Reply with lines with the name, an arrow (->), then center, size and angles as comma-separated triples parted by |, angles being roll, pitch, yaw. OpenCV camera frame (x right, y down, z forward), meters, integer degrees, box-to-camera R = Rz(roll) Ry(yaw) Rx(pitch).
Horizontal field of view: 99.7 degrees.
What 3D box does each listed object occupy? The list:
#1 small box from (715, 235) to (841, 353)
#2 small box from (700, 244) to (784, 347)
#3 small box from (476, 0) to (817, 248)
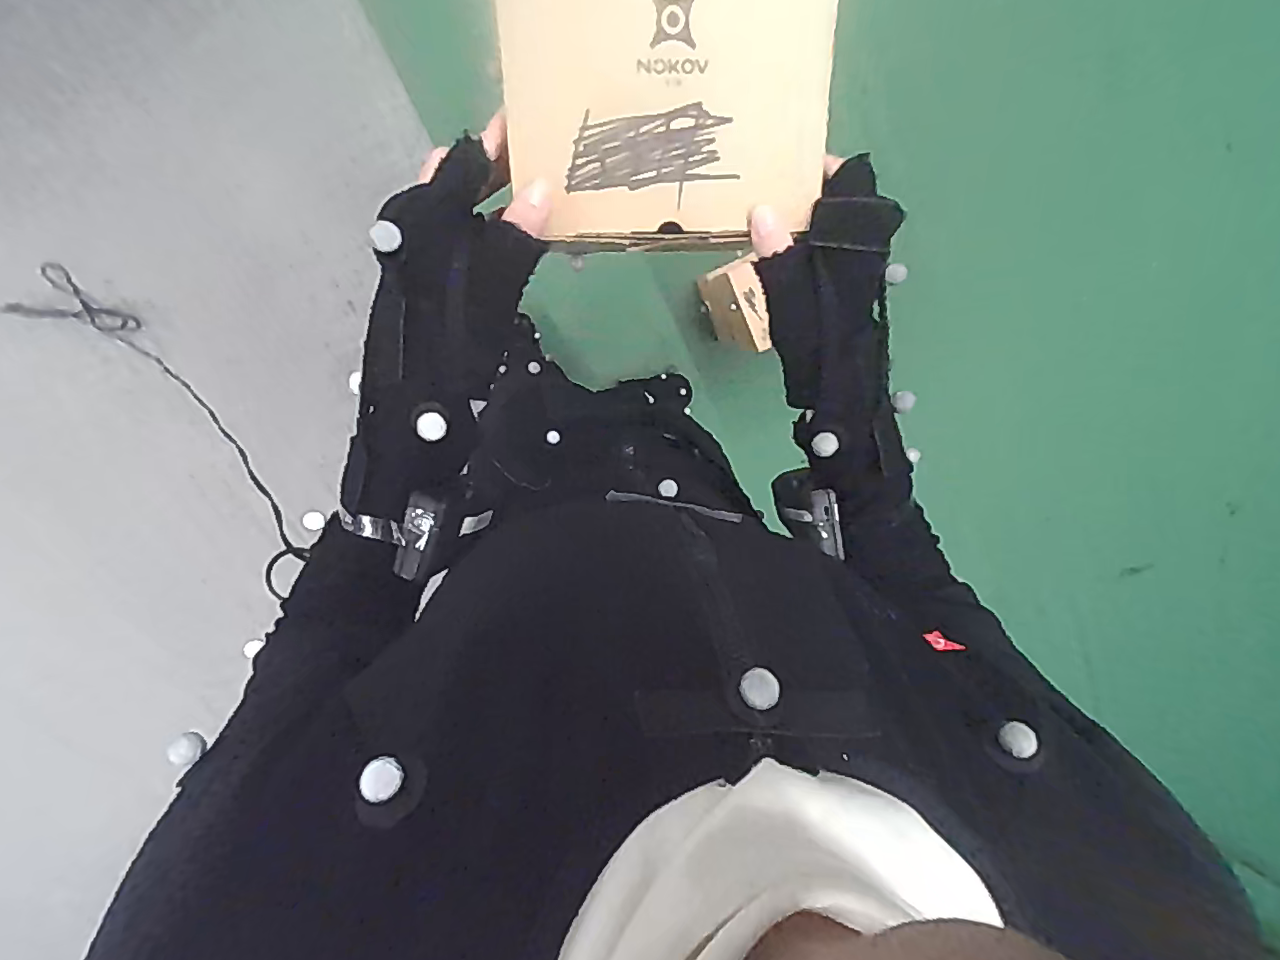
small box -> 0.274, -0.374, 1.104 | 0.179, 0.176, 0.168 | -25, 106, 3
small box -> 0.256, -0.425, 1.259 | 0.179, 0.176, 0.168 | -24, 105, 5
small box -> -0.002, -0.242, 0.337 | 0.168, 0.176, 0.179 | -4, 109, -5
